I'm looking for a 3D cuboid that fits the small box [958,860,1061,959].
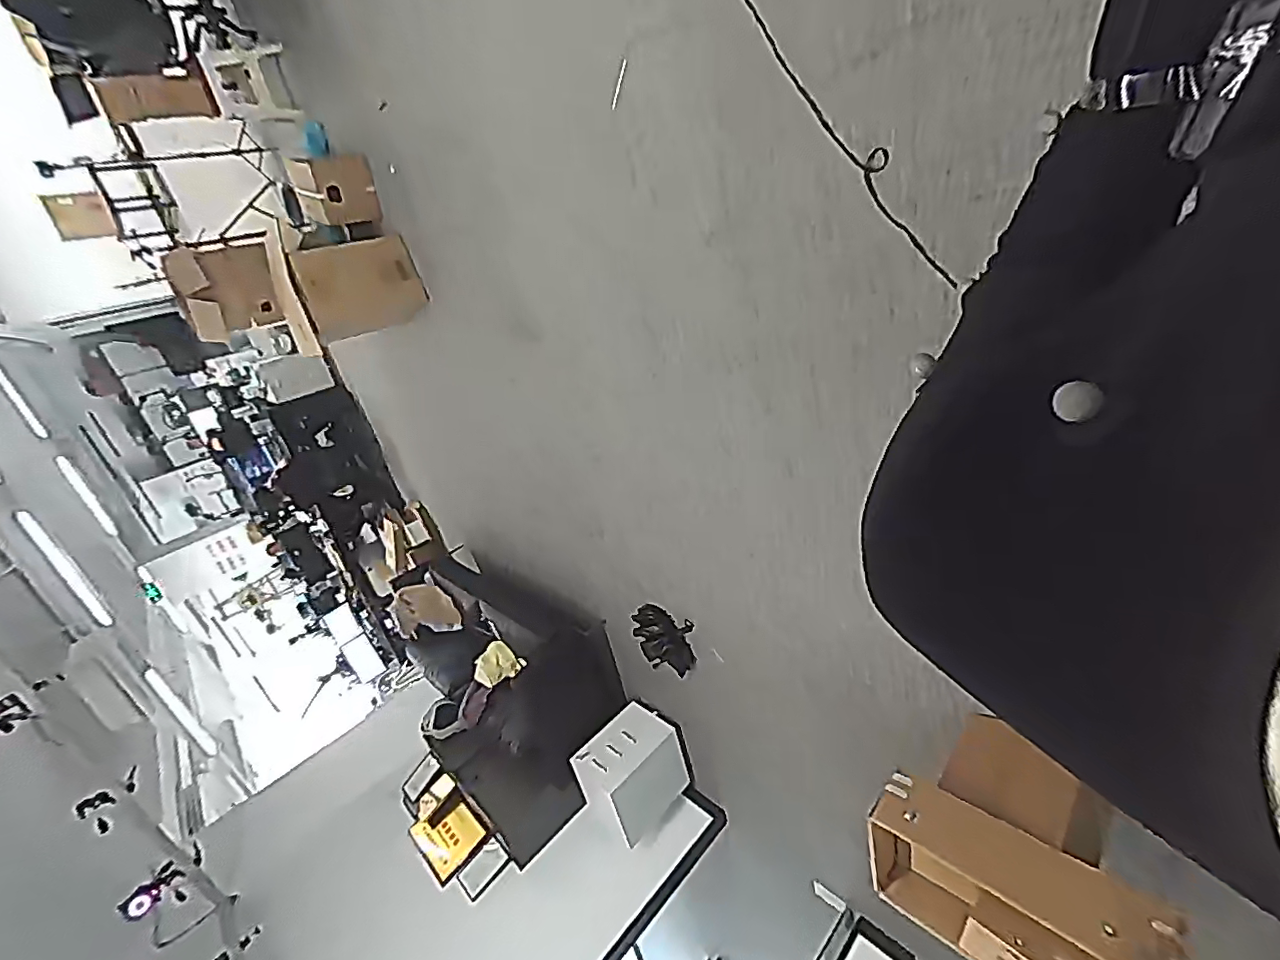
[{"bbox_3d":[0.940,1.129,1.377,0.168,0.176,0.179,21,132,41],"label":"small box"}]
